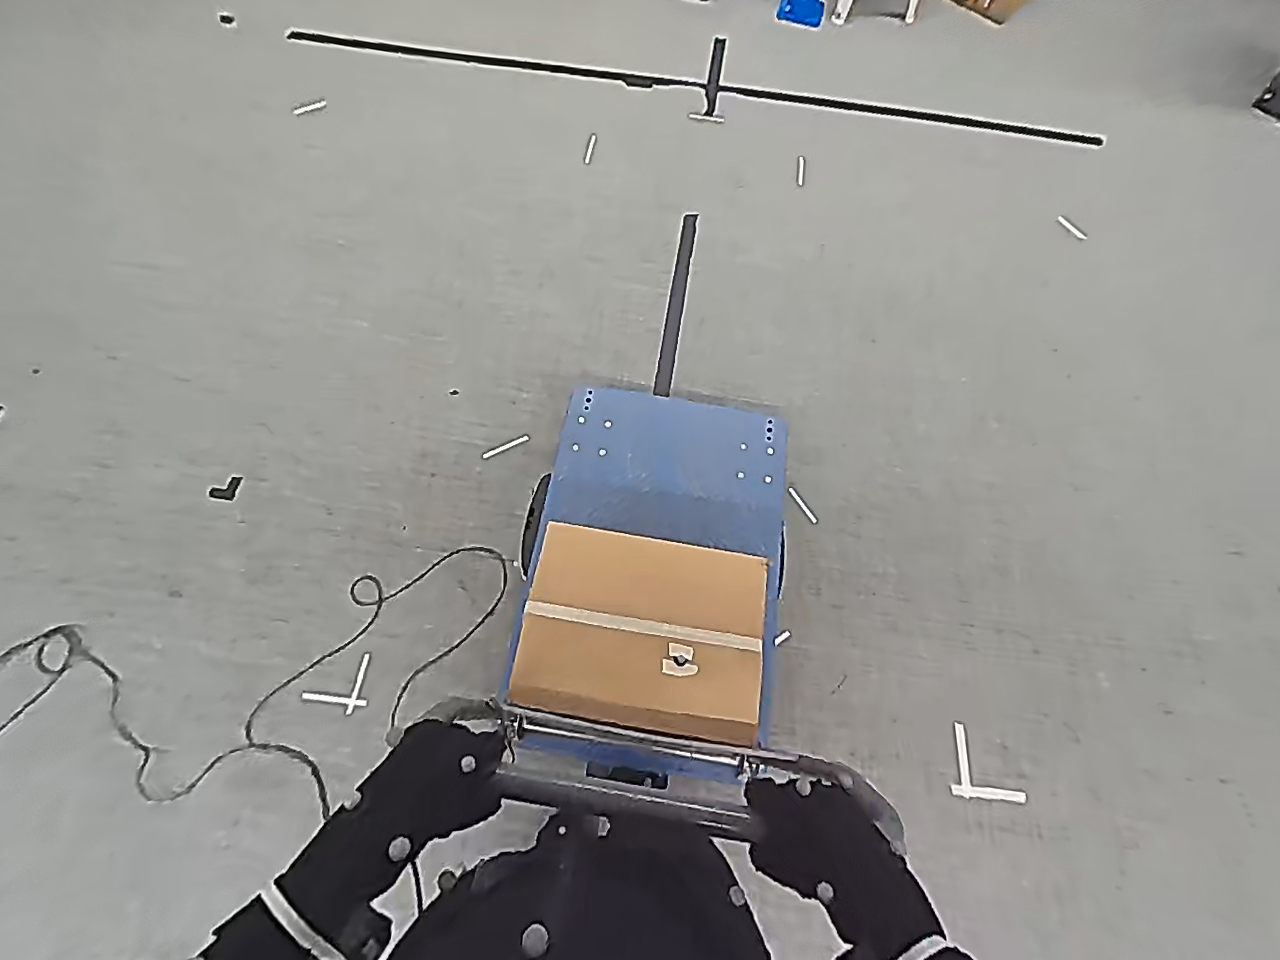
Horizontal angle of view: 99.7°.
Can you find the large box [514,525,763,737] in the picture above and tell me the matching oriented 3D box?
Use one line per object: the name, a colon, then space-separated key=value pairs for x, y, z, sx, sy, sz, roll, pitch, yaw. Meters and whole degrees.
large box: x=-0.001 y=0.311 z=1.072 sx=0.408 sy=0.320 sz=0.320 roll=10 pitch=66 yaw=0
